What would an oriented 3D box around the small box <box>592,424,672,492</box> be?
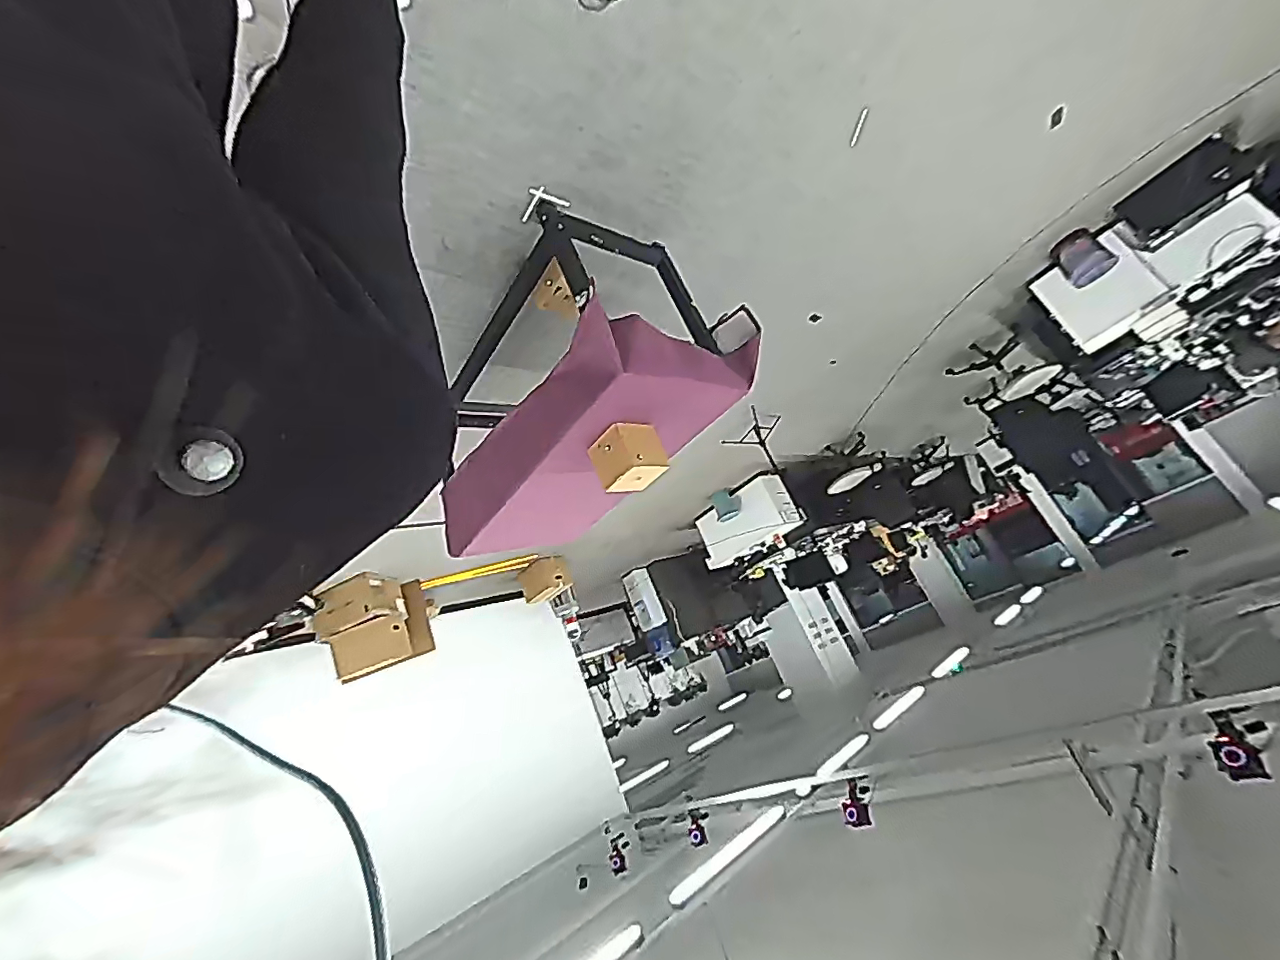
[{"bbox_3d":[-0.031,-0.076,1.806,0.179,0.176,0.168,-2,151,-44],"label":"small box"}]
